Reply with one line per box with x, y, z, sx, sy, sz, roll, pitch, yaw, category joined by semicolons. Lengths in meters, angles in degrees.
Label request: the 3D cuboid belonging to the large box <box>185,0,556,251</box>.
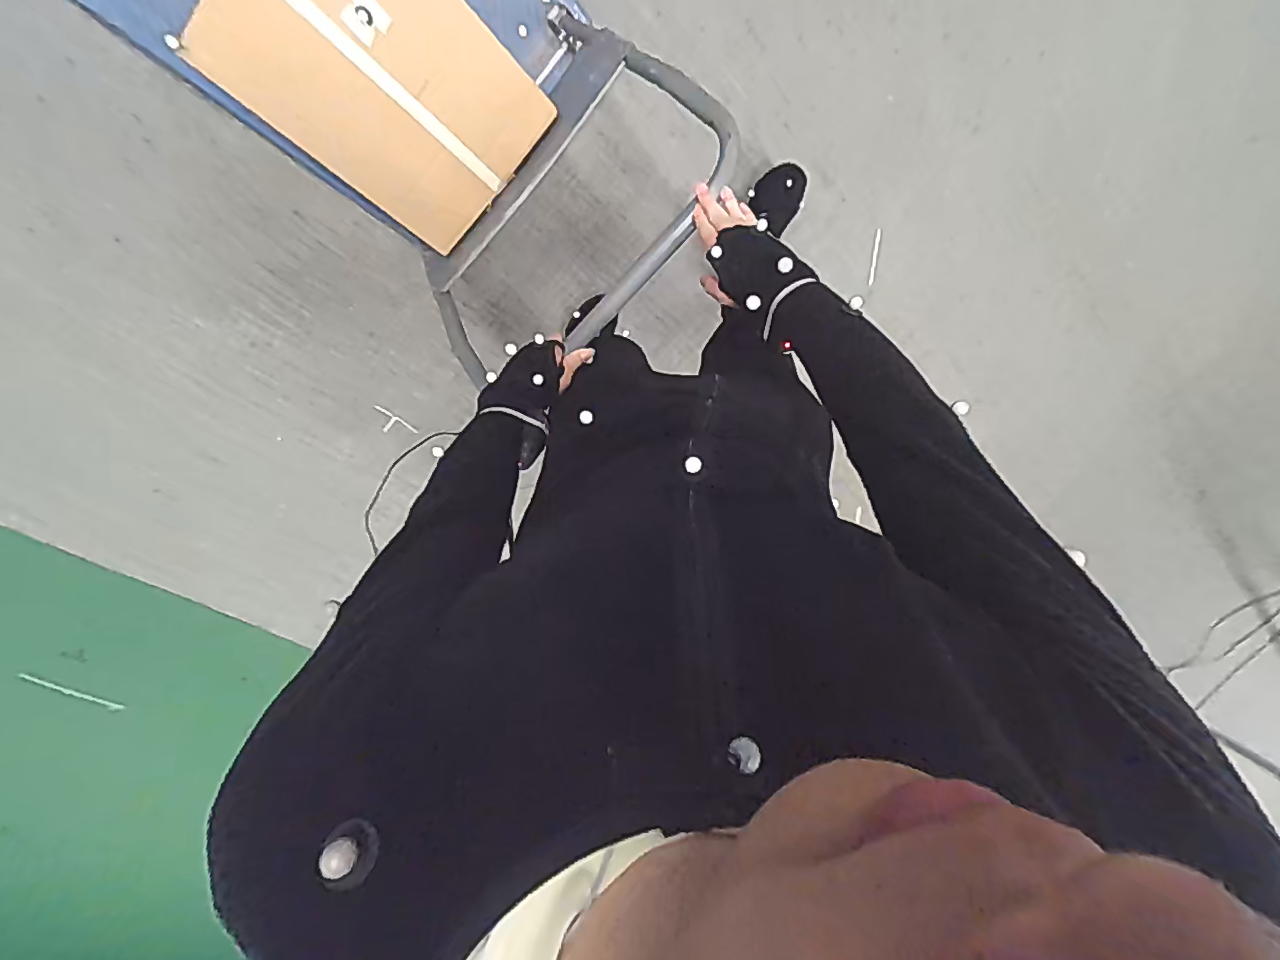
-0.412;-0.676;0.892;0.320;0.320;0.408;-43;136;17;large box
